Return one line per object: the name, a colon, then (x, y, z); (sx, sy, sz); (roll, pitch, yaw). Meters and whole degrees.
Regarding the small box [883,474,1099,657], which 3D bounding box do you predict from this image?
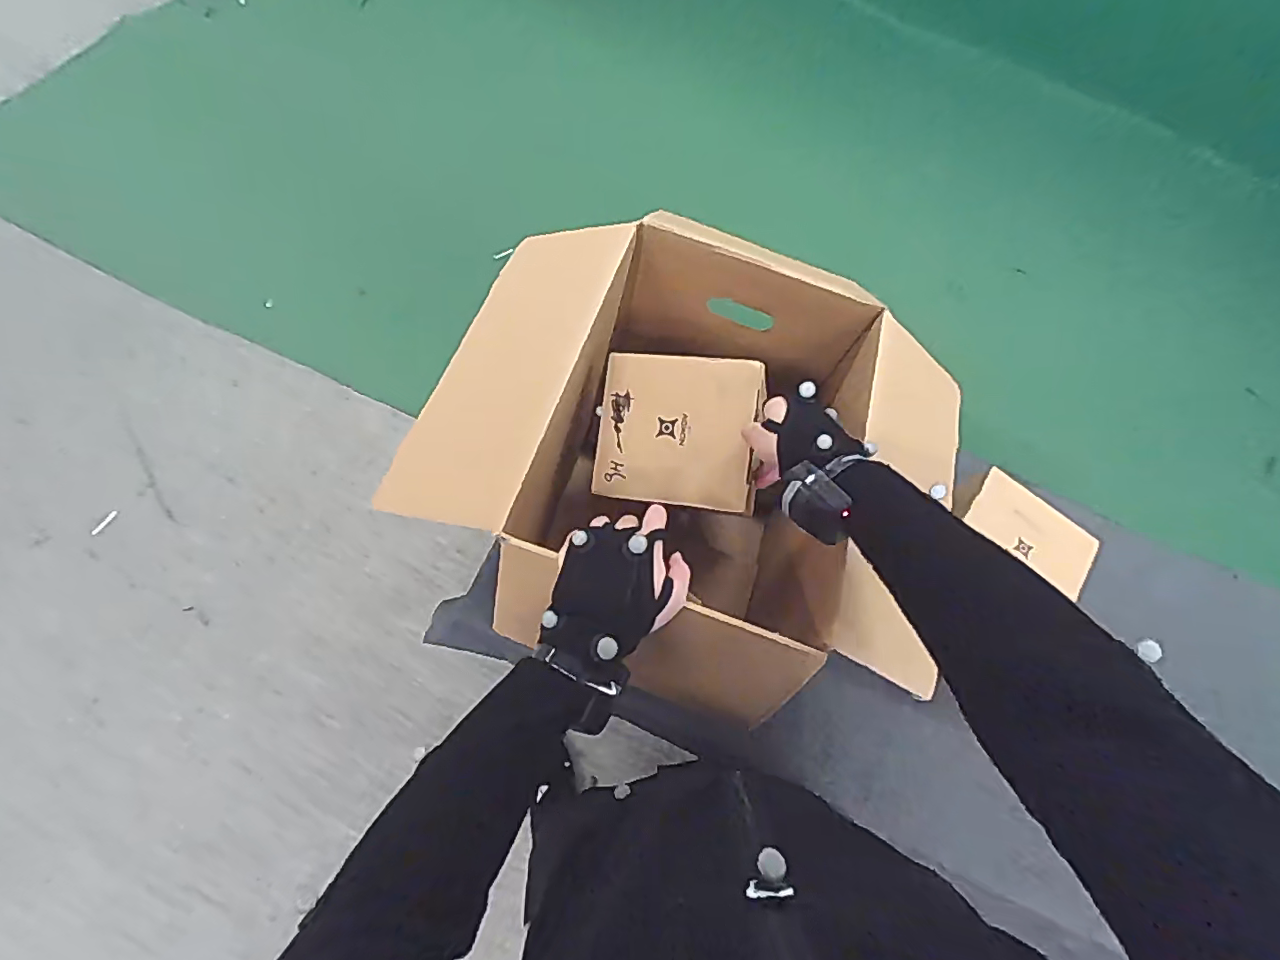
small box: (0.479, 0.129, 0.764); (0.168, 0.176, 0.179); (40, 67, 8)
